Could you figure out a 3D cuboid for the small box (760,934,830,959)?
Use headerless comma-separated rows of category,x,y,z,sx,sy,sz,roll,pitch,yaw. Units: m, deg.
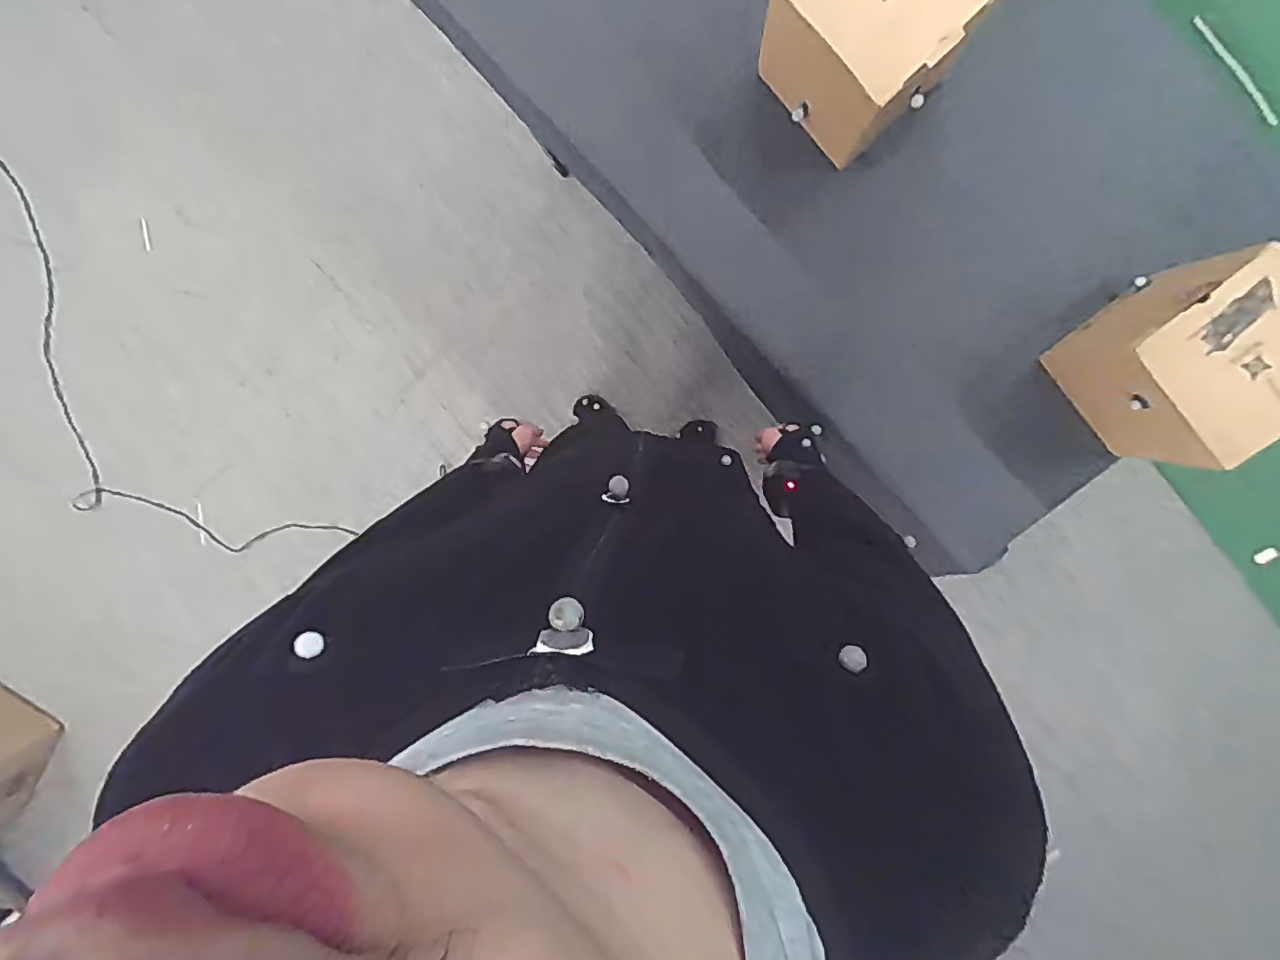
small box,0.294,0.988,0.971,0.179,0.176,0.168,-44,94,9

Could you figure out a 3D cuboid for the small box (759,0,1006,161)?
small box,0.263,-0.512,0.631,0.168,0.176,0.179,-43,94,8

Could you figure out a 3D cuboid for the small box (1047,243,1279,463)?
small box,0.654,-0.141,0.651,0.168,0.176,0.179,-41,94,9
